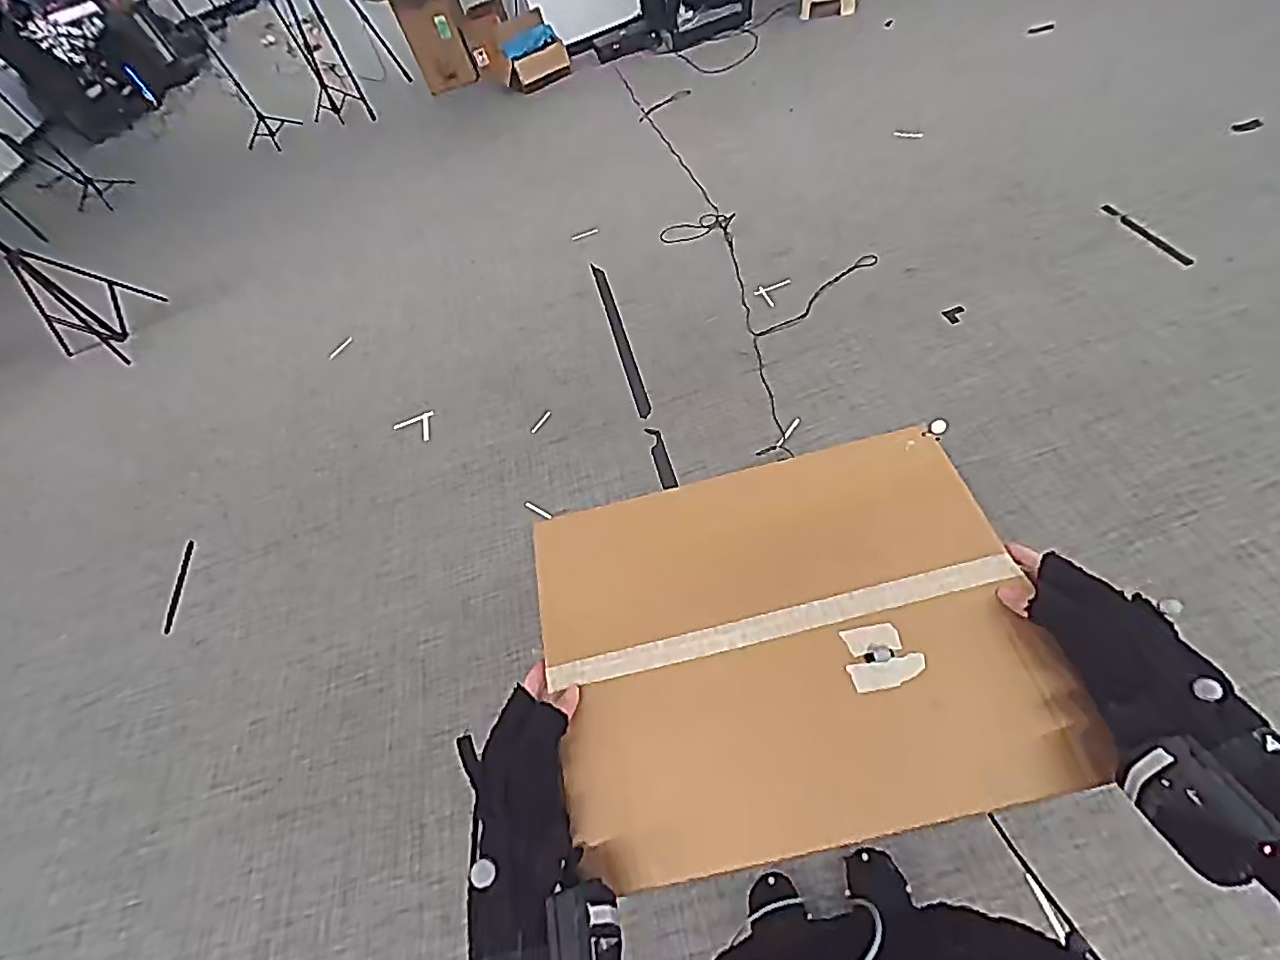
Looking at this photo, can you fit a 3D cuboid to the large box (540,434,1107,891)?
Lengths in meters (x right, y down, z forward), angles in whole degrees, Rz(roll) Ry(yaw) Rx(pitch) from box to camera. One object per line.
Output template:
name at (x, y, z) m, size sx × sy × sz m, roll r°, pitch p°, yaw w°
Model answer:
large box at (0.139, 0.205, 0.596) m, size 0.408 × 0.320 × 0.320 m, roll -14°, pitch 57°, yaw 1°
